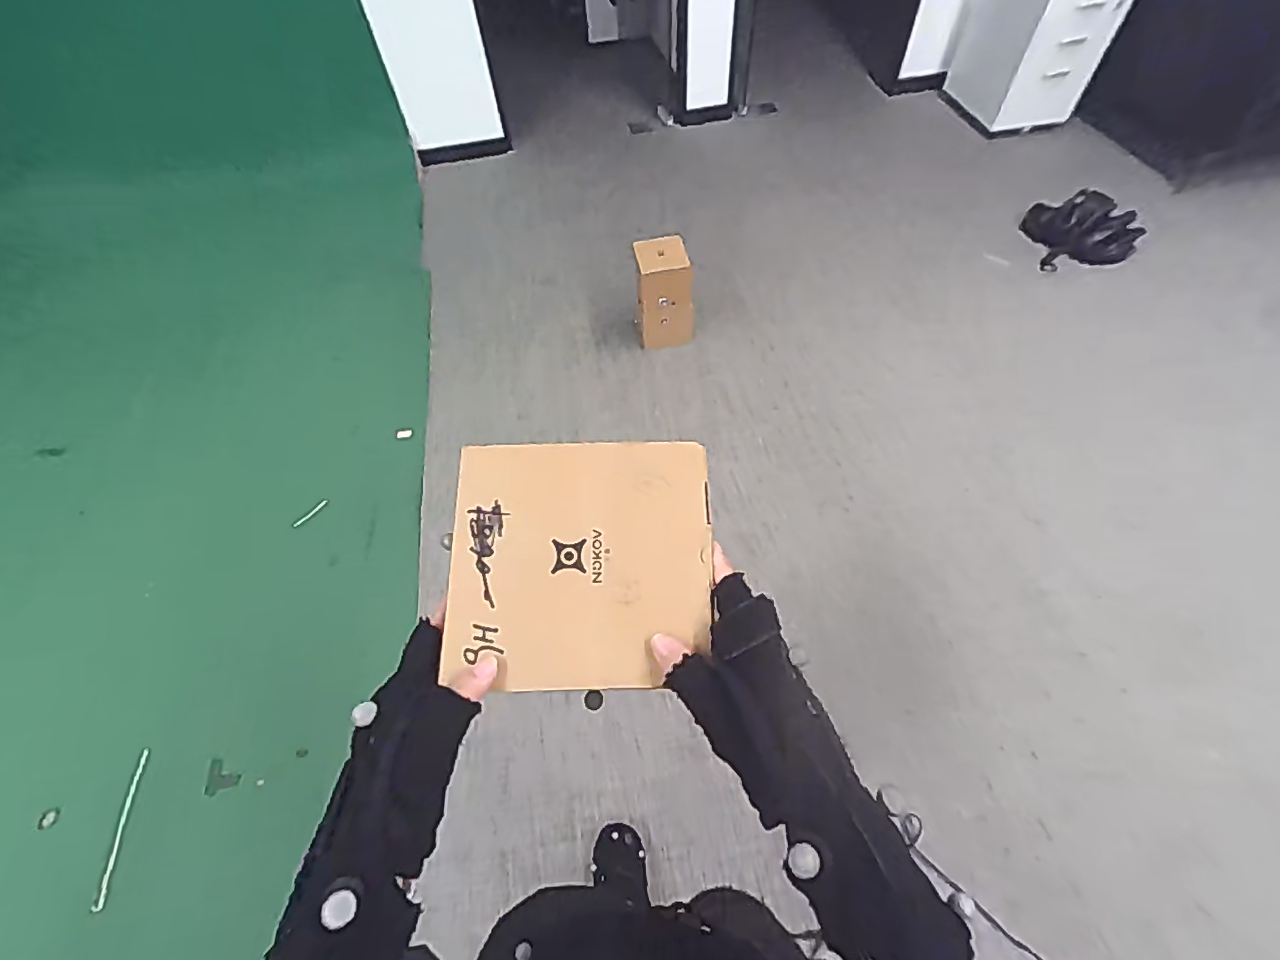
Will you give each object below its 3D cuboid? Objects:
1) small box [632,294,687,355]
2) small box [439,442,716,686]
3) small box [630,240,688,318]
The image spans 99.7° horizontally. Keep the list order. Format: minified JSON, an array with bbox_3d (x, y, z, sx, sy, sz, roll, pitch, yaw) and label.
[{"bbox_3d":[0.073,-0.586,2.008,0.179,0.176,0.168,-10,57,-4],"label":"small box"},{"bbox_3d":[-0.043,0.078,0.440,0.179,0.176,0.168,0,69,-2],"label":"small box"},{"bbox_3d":[0.064,-0.691,1.864,0.168,0.176,0.179,-11,58,-3],"label":"small box"}]
